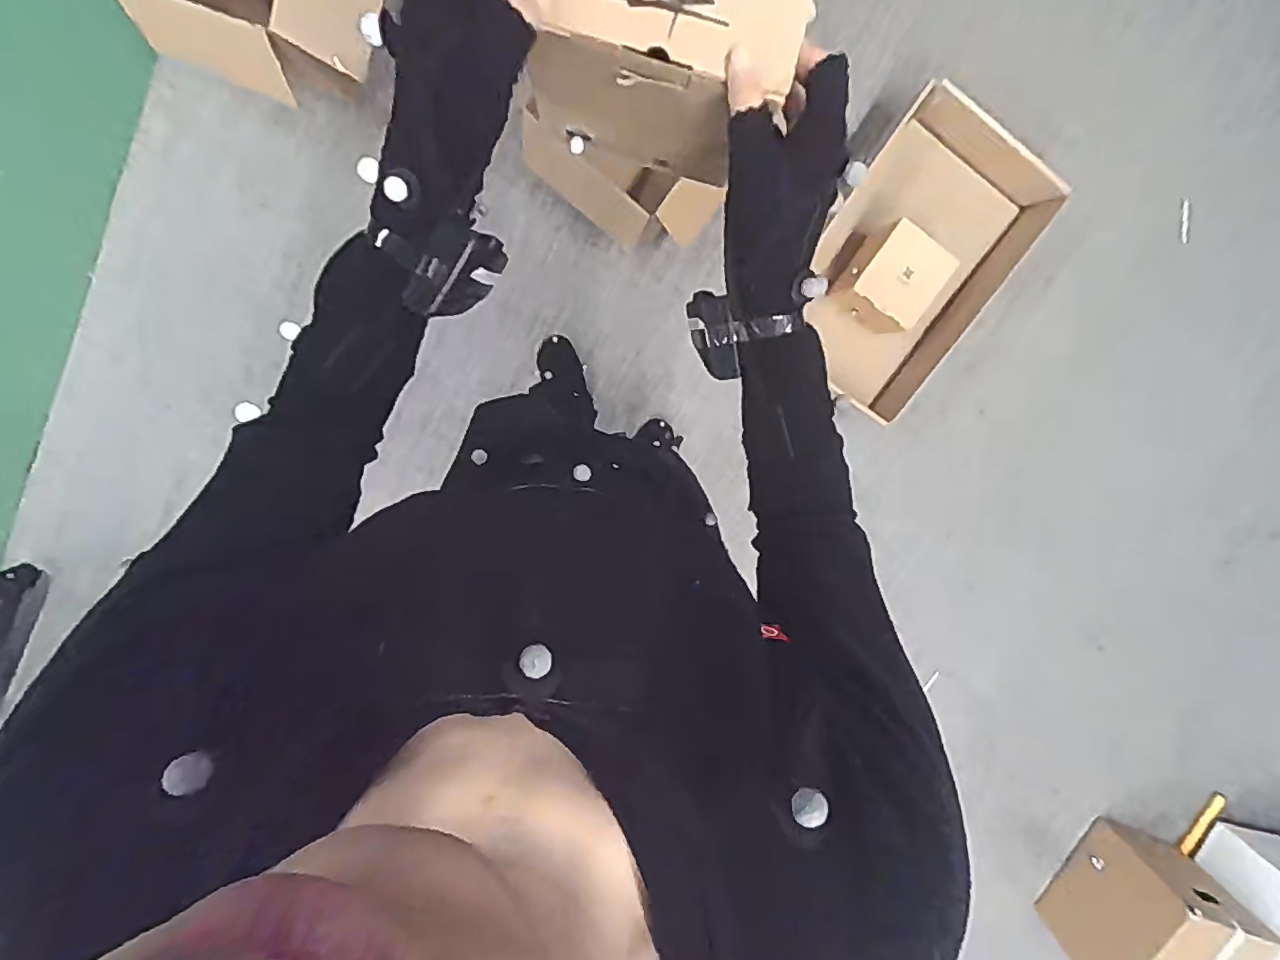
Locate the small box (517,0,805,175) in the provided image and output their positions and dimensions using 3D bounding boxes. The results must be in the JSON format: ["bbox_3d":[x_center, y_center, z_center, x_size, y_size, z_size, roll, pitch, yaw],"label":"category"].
[{"bbox_3d":[0.022,-0.348,0.380,0.168,0.176,0.179,12,100,-7],"label":"small box"}]

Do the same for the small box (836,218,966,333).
[{"bbox_3d":[0.580,-0.455,1.231,0.168,0.176,0.179,33,101,-8],"label":"small box"}]
